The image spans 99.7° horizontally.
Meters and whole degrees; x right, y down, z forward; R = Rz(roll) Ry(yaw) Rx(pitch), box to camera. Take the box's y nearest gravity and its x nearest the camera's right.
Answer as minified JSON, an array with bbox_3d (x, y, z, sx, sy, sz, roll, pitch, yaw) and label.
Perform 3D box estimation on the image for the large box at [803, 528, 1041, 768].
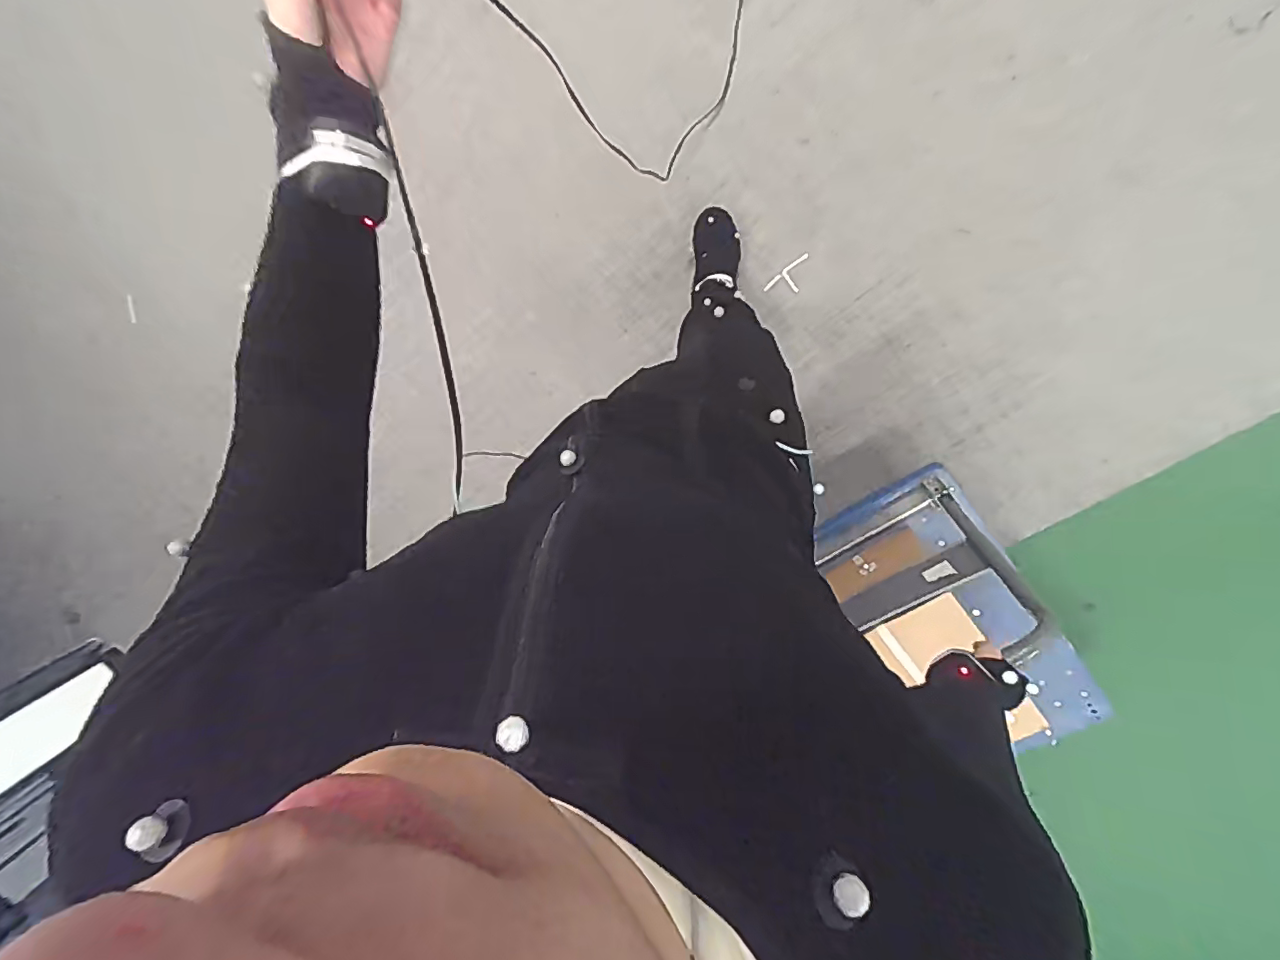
[{"bbox_3d":[0.657,0.399,1.331,0.320,0.320,0.408,-36,100,22],"label":"large box"}]
